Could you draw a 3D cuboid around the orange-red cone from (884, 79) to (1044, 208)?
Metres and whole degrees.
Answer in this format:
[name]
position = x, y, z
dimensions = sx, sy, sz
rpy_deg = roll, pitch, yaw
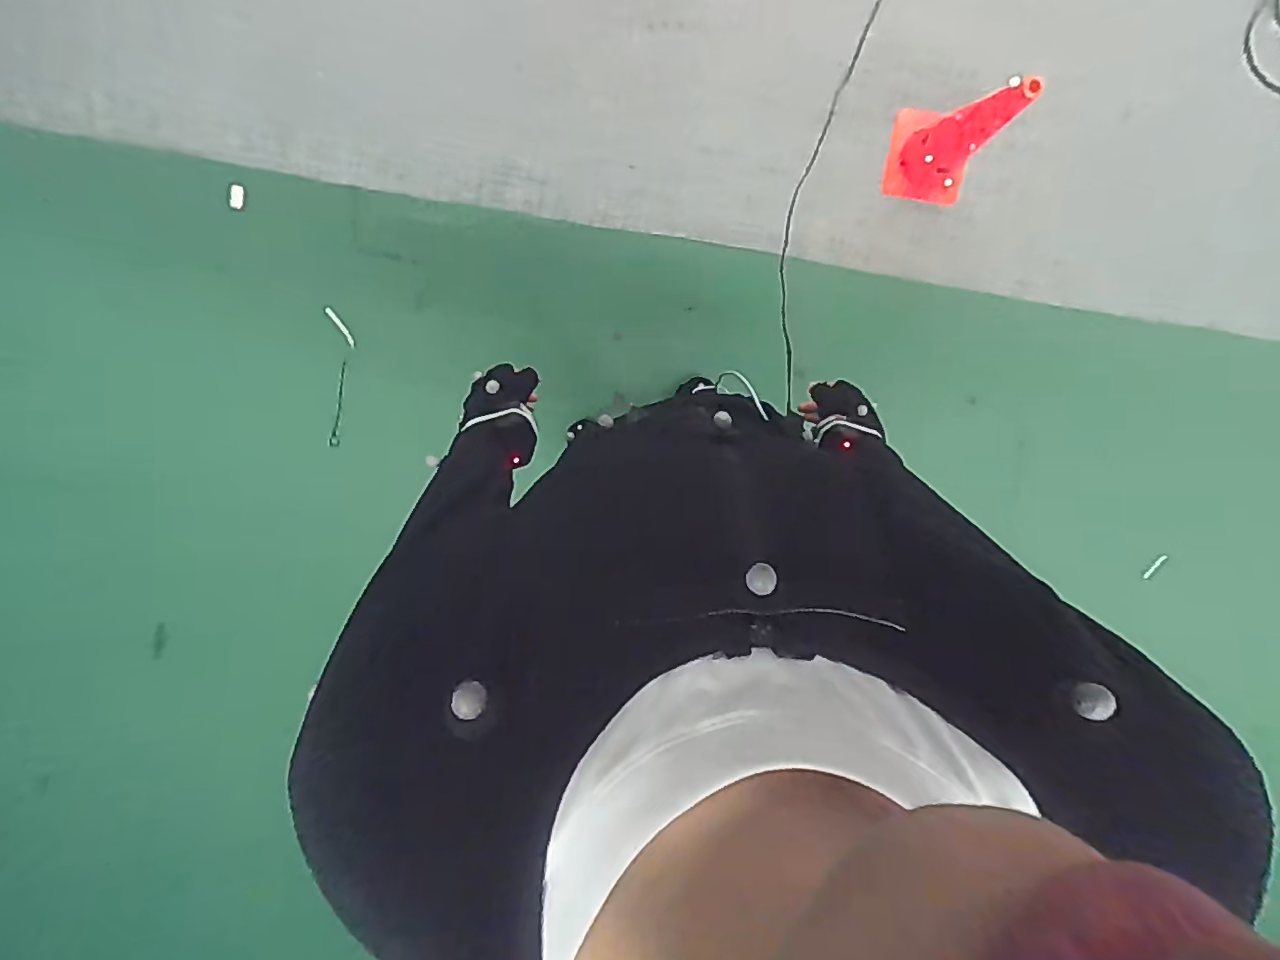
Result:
[orange-red cone]
position = 0.730, -0.770, 1.187
dimensions = 0.198, 0.360, 0.199
rpy_deg = 8, 100, -5
